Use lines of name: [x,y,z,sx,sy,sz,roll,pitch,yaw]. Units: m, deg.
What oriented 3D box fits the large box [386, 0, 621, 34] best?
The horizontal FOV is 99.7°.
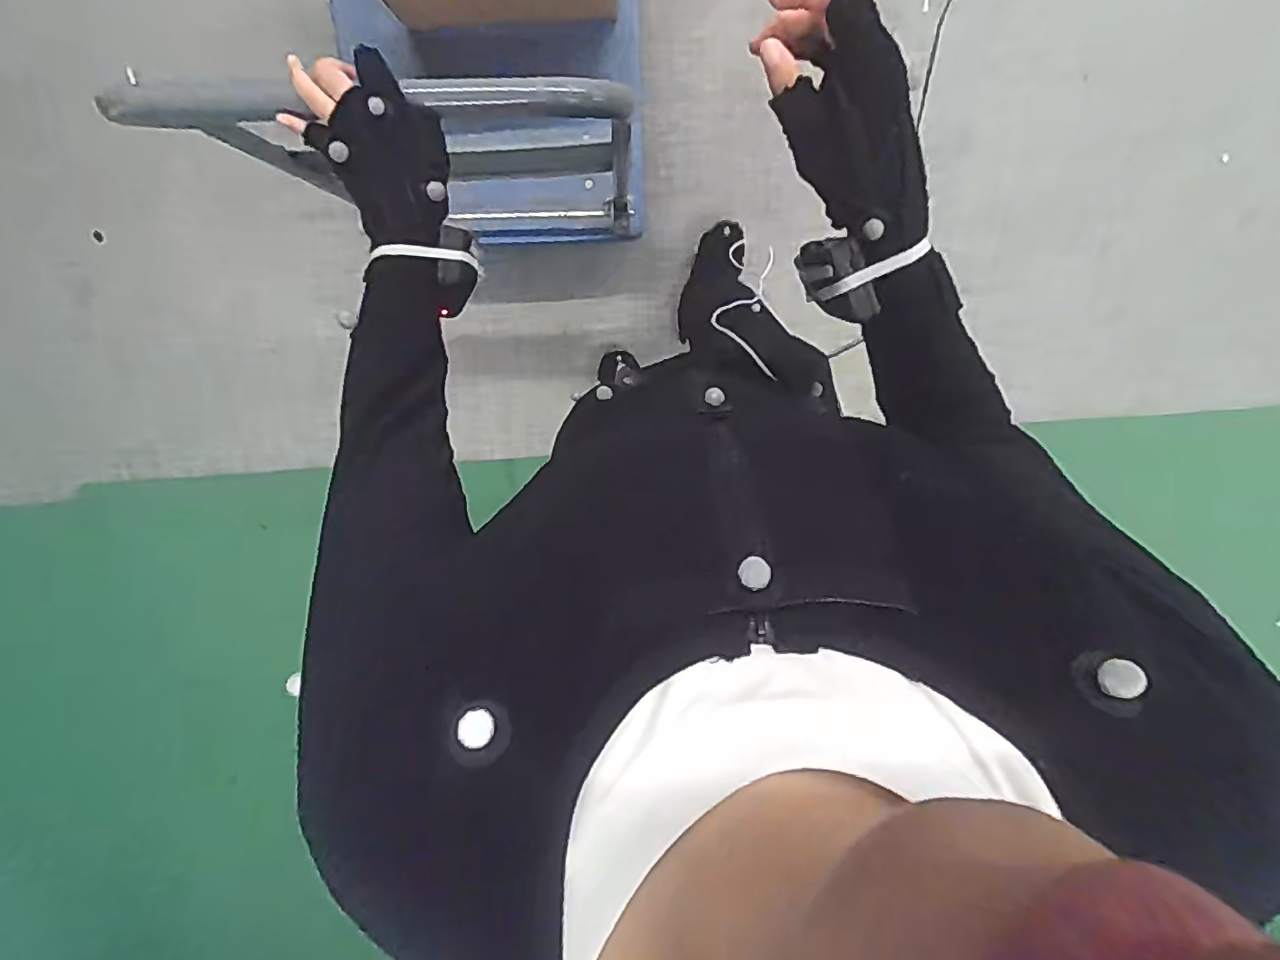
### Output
large box: [-0.244,-0.958,0.839,0.408,0.320,0.320,-3,107,1]
